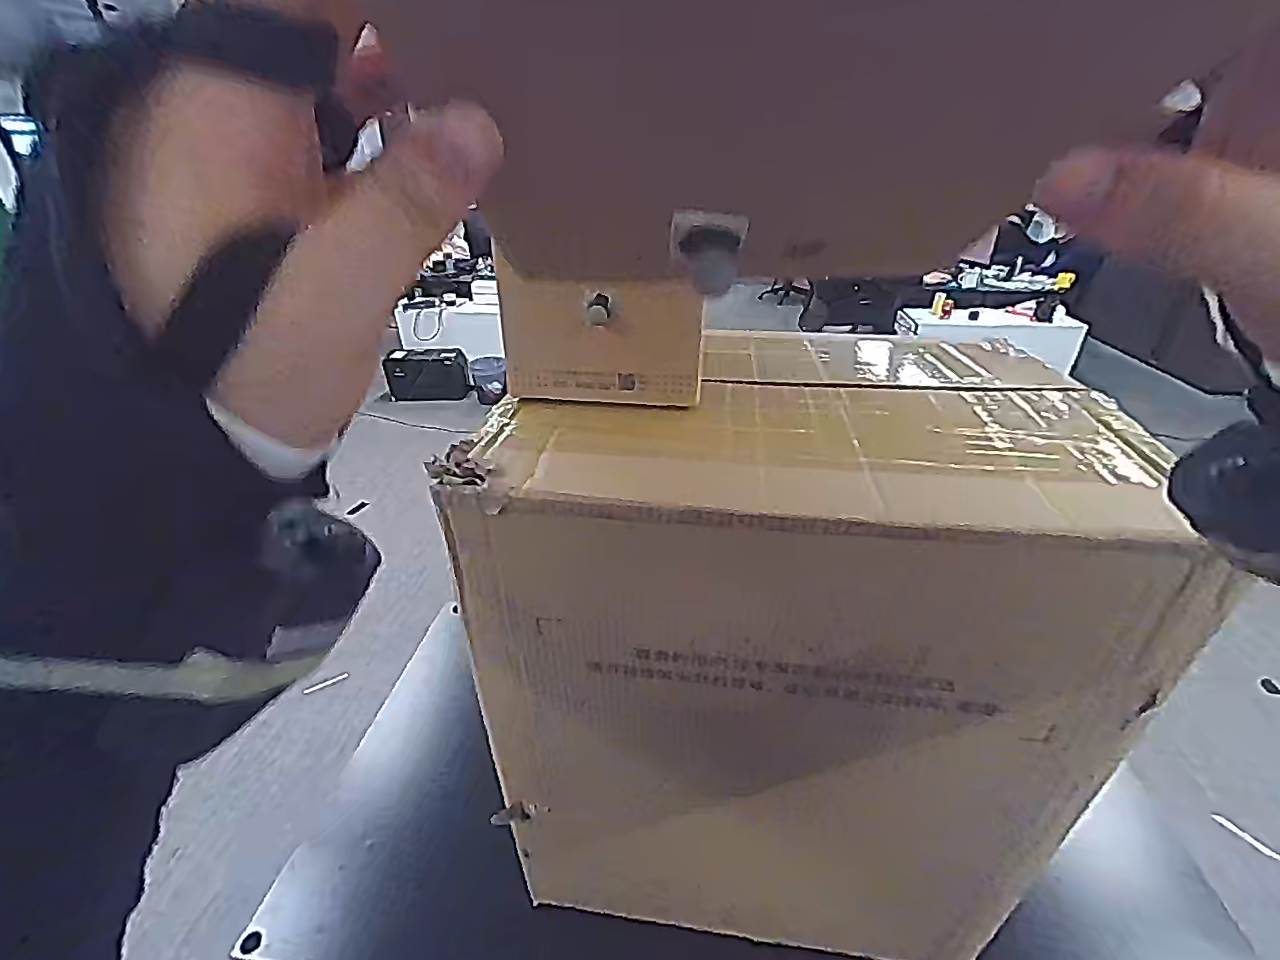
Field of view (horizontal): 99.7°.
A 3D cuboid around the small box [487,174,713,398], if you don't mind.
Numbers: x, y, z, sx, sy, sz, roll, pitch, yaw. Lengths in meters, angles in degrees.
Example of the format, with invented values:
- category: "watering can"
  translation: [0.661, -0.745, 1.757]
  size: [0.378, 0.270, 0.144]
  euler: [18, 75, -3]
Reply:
- category: "small box"
  translation: [-0.019, -0.181, 0.488]
  size: [0.168, 0.176, 0.179]
  euler: [4, 30, 5]

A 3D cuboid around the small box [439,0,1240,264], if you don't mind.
- category: "small box"
  translation: [0.034, -0.174, 0.129]
  size: [0.168, 0.179, 0.176]
  euler: [-3, -1, 1]
